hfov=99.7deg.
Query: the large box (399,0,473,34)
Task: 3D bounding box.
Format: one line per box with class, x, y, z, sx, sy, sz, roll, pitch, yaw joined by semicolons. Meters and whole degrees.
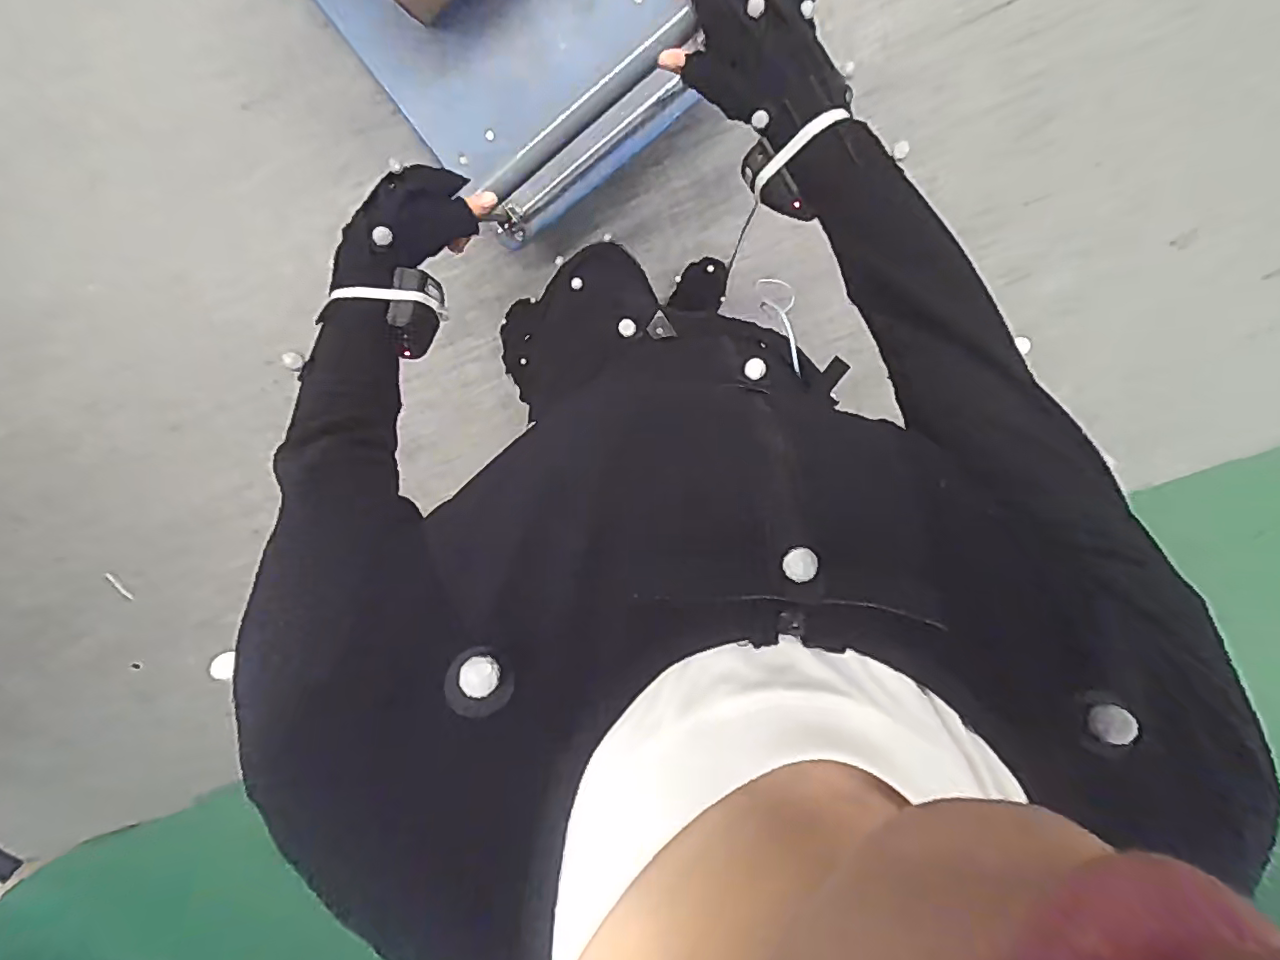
large box;-0.300;-0.953;0.741;0.408;0.320;0.320;-36;111;16
